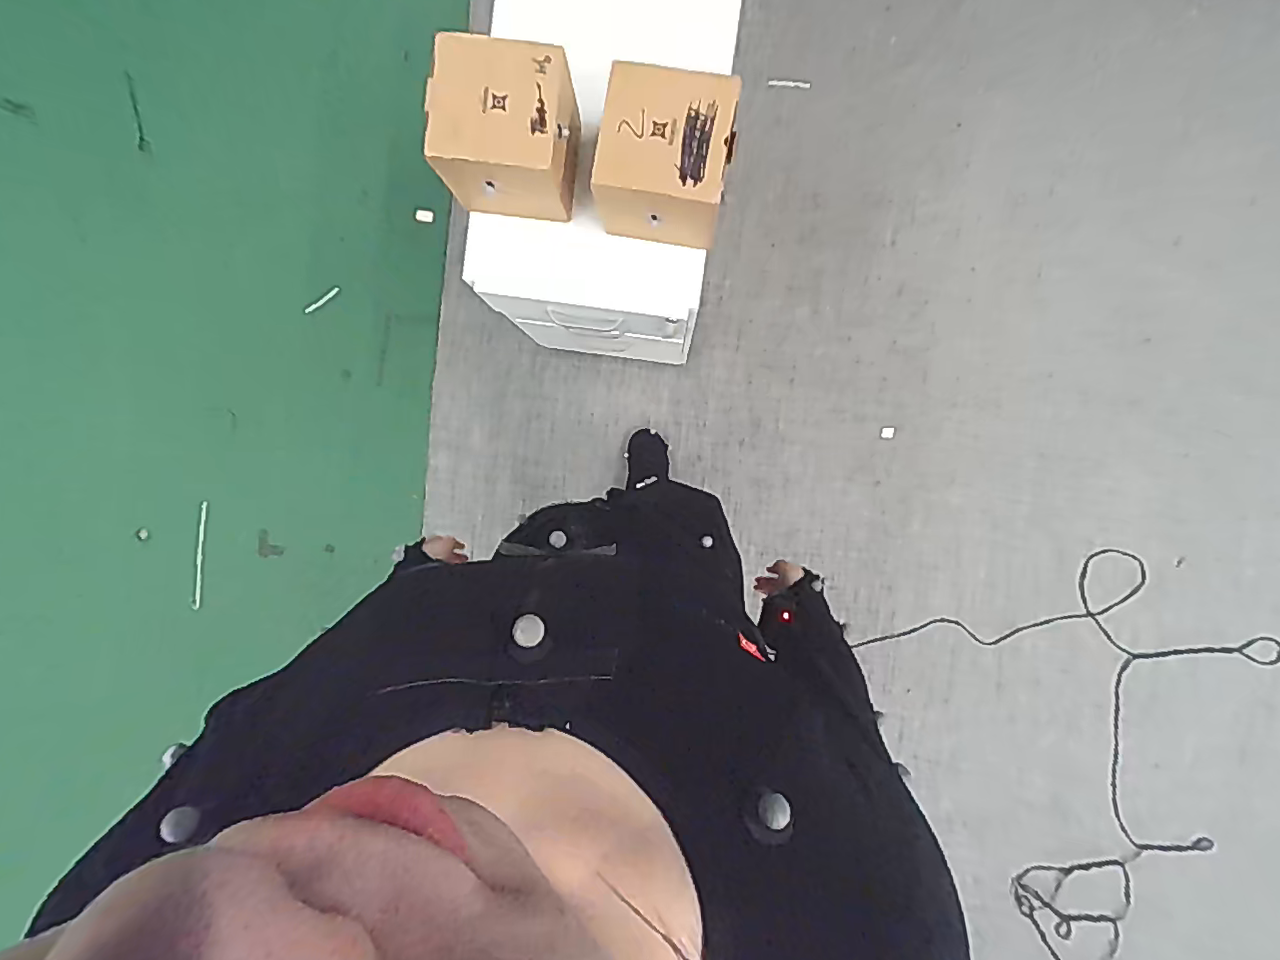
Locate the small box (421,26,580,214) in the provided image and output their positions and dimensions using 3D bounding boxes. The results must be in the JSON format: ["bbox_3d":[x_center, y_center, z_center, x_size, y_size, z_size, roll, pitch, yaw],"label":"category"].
[{"bbox_3d":[-0.195,-0.515,0.798,0.179,0.176,0.168,7,93,1],"label":"small box"}]
